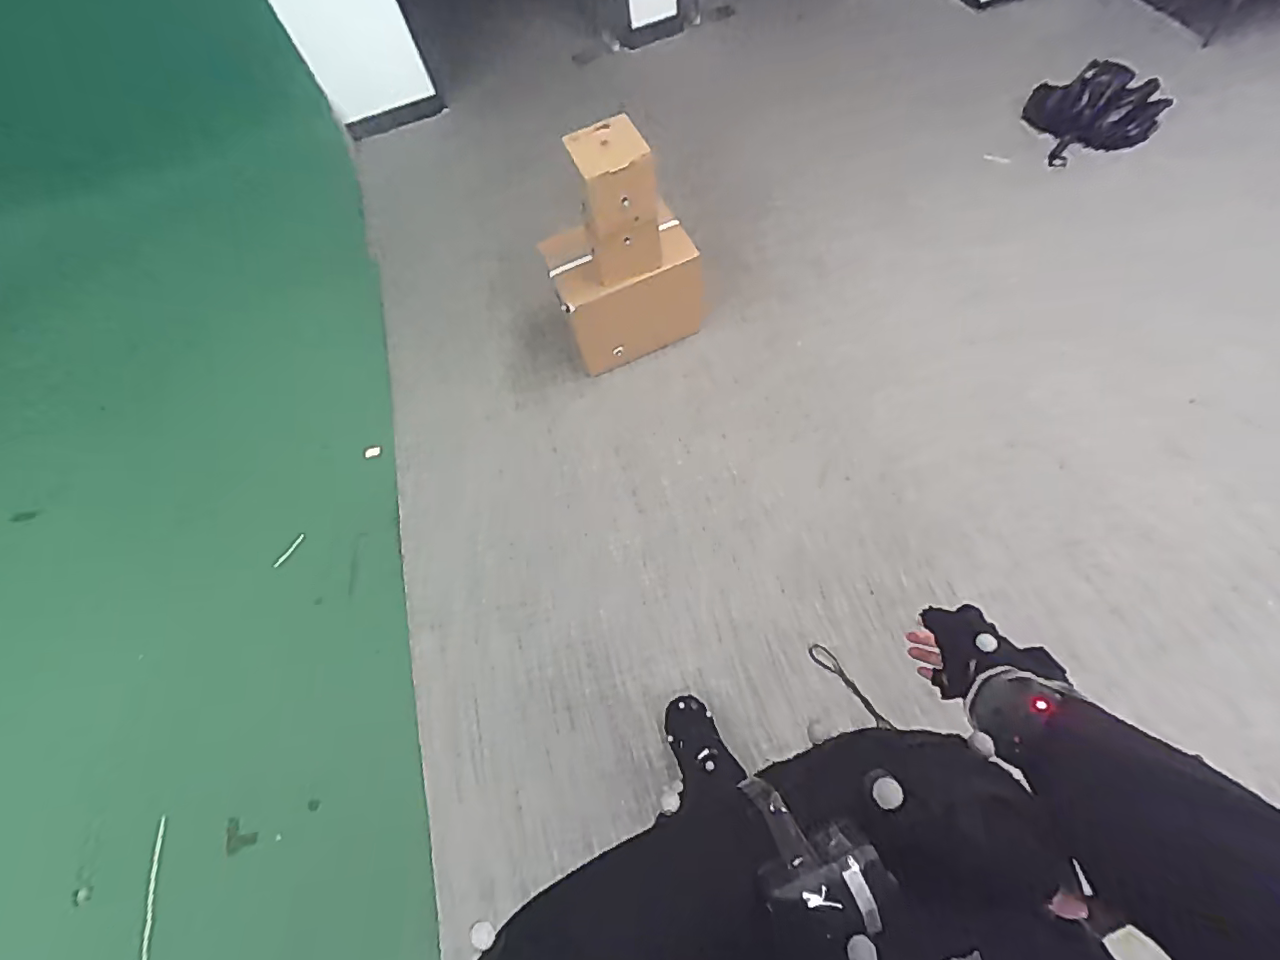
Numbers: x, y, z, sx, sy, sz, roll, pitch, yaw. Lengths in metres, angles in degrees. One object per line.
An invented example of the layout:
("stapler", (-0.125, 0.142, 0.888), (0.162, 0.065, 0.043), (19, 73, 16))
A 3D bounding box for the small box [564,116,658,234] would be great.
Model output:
("small box", (-0.065, -0.728, 1.312), (0.168, 0.176, 0.179), (-23, 65, -3))

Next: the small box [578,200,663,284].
("small box", (-0.047, -0.662, 1.460), (0.179, 0.176, 0.168), (-21, 64, -3))
